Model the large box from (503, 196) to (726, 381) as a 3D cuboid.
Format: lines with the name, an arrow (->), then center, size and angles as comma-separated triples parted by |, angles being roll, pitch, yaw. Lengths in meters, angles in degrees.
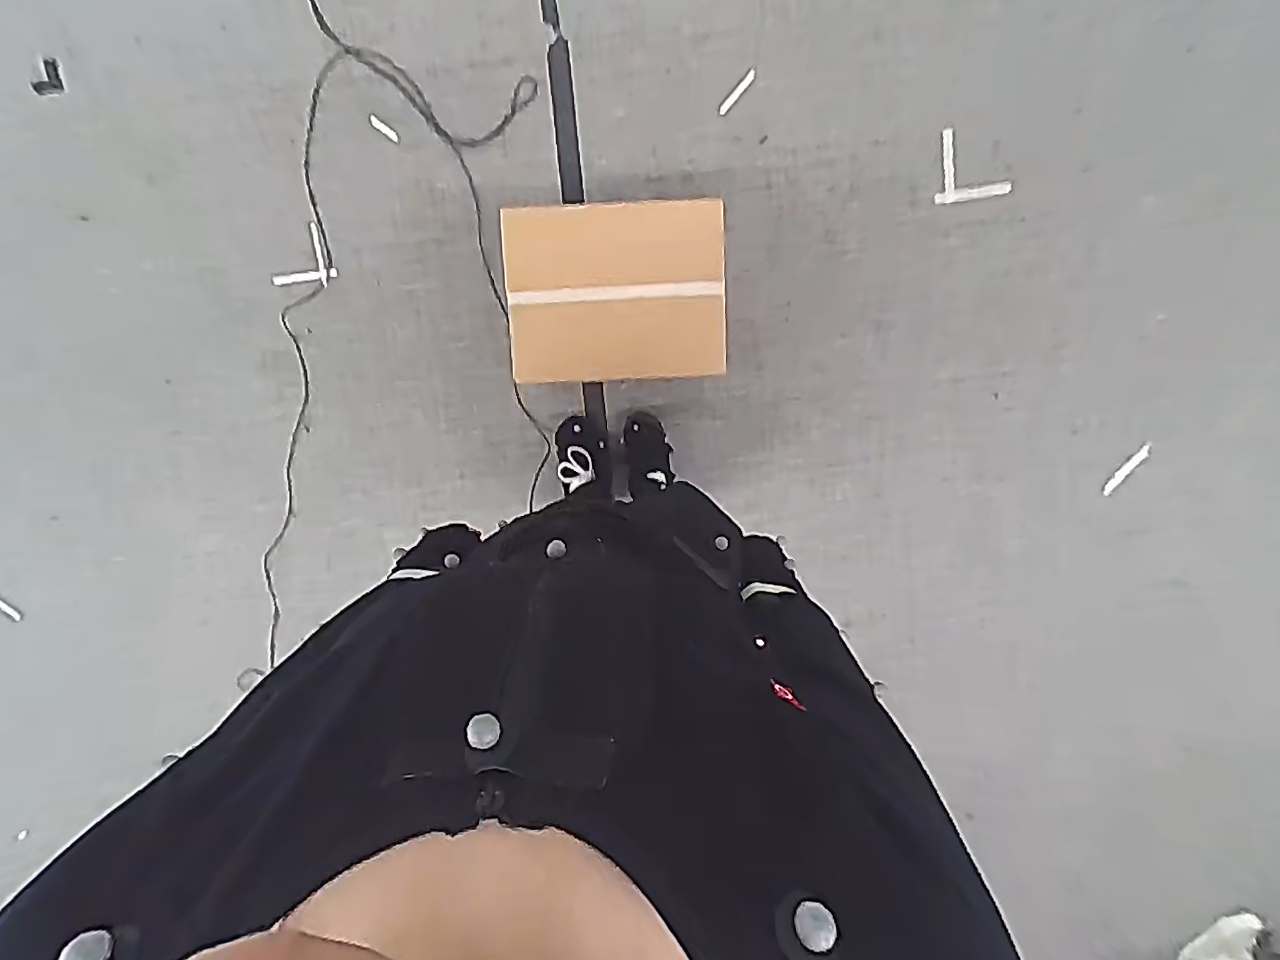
large box -> -0.044, -0.377, 1.147 | 0.408, 0.320, 0.320 | -2, 101, 0
